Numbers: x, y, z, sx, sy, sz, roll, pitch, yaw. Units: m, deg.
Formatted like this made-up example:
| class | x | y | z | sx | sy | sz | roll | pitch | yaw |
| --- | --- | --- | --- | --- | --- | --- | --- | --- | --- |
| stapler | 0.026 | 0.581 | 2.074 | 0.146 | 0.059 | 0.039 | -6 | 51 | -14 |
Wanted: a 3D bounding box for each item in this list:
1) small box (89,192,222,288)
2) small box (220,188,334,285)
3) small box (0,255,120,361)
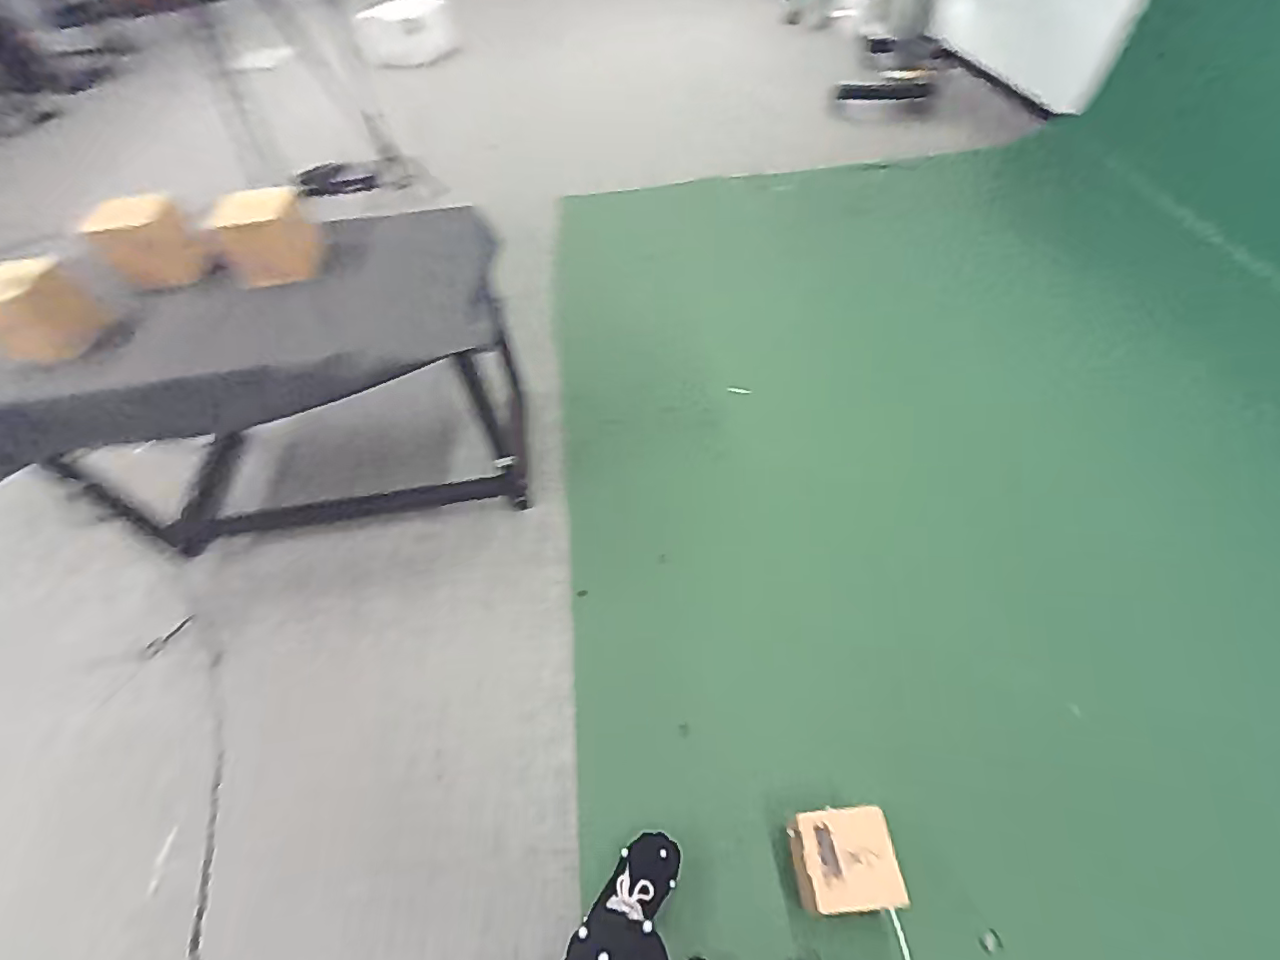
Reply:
| class | x | y | z | sx | sy | sz | roll | pitch | yaw |
| --- | --- | --- | --- | --- | --- | --- | --- | --- | --- |
| small box | -1.266 | -0.632 | 1.432 | 0.179 | 0.176 | 0.168 | -7 | 53 | -1 |
| small box | -0.939 | -0.638 | 1.420 | 0.168 | 0.176 | 0.179 | -6 | 54 | -1 |
| small box | -1.400 | -0.400 | 1.268 | 0.179 | 0.176 | 0.168 | -5 | 52 | 0 |
